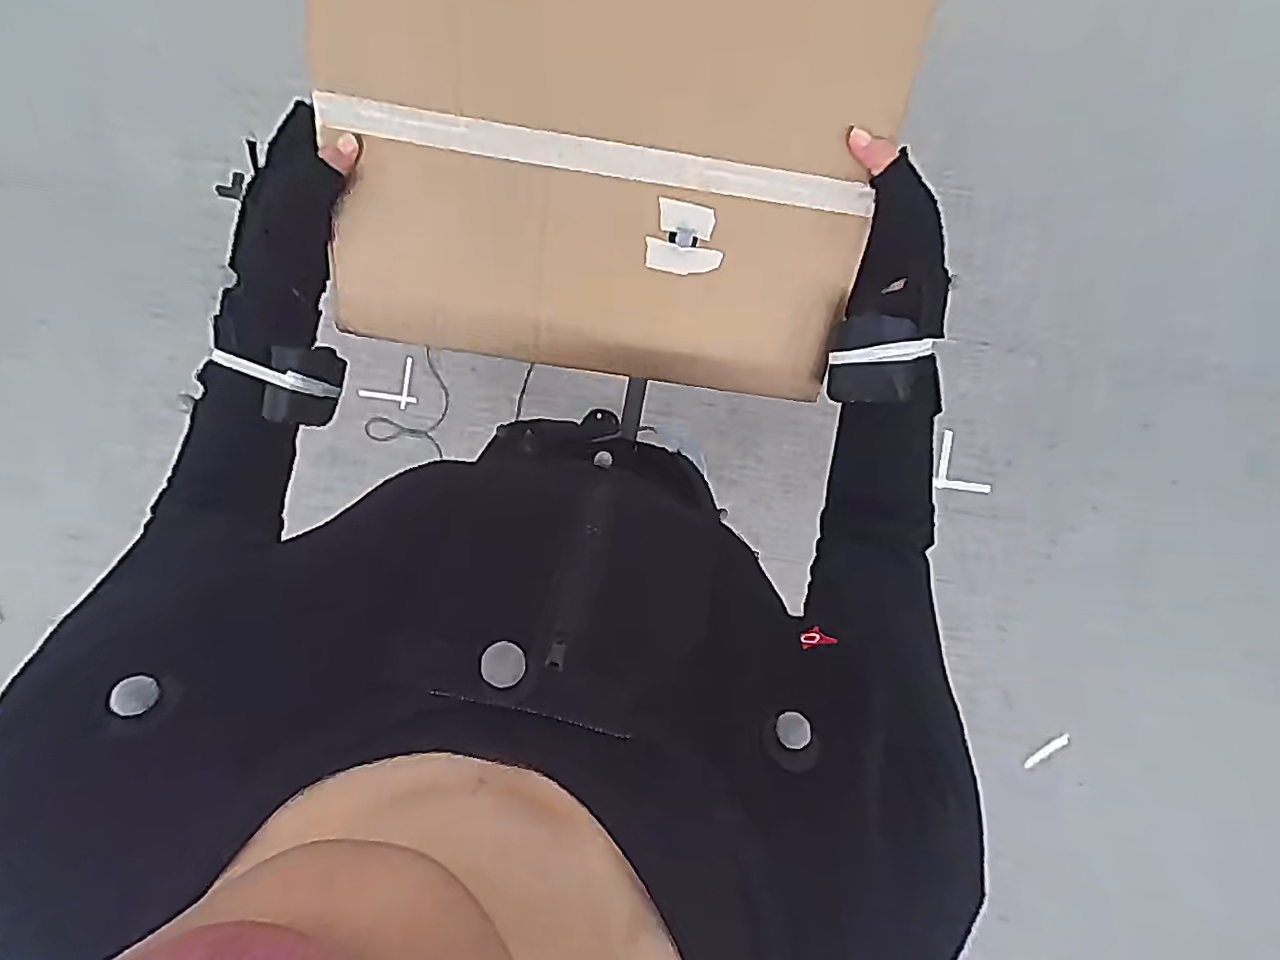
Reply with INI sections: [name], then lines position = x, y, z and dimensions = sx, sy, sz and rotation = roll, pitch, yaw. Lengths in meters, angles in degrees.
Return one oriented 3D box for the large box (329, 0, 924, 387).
[large box]
position = -0.025, -0.304, 0.536
dimensions = 0.408, 0.320, 0.320
rotation = 7, 117, -4
